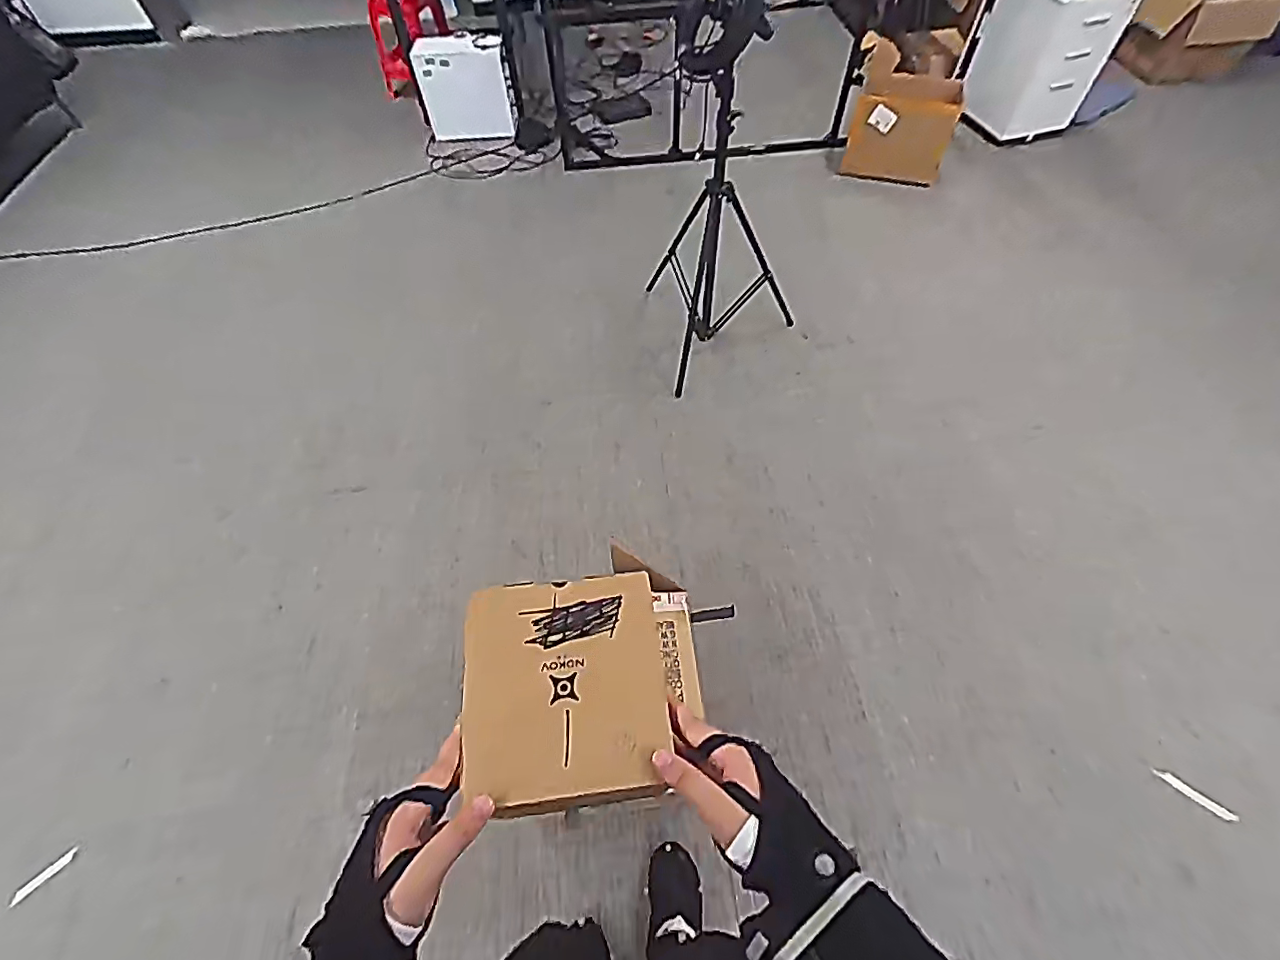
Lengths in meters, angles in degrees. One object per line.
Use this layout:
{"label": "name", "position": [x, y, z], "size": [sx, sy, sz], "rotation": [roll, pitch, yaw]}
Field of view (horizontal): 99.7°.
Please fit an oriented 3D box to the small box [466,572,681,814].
{"label": "small box", "position": [-0.062, 0.207, 0.520], "size": [0.168, 0.176, 0.179], "rotation": [-5, 58, -6]}
